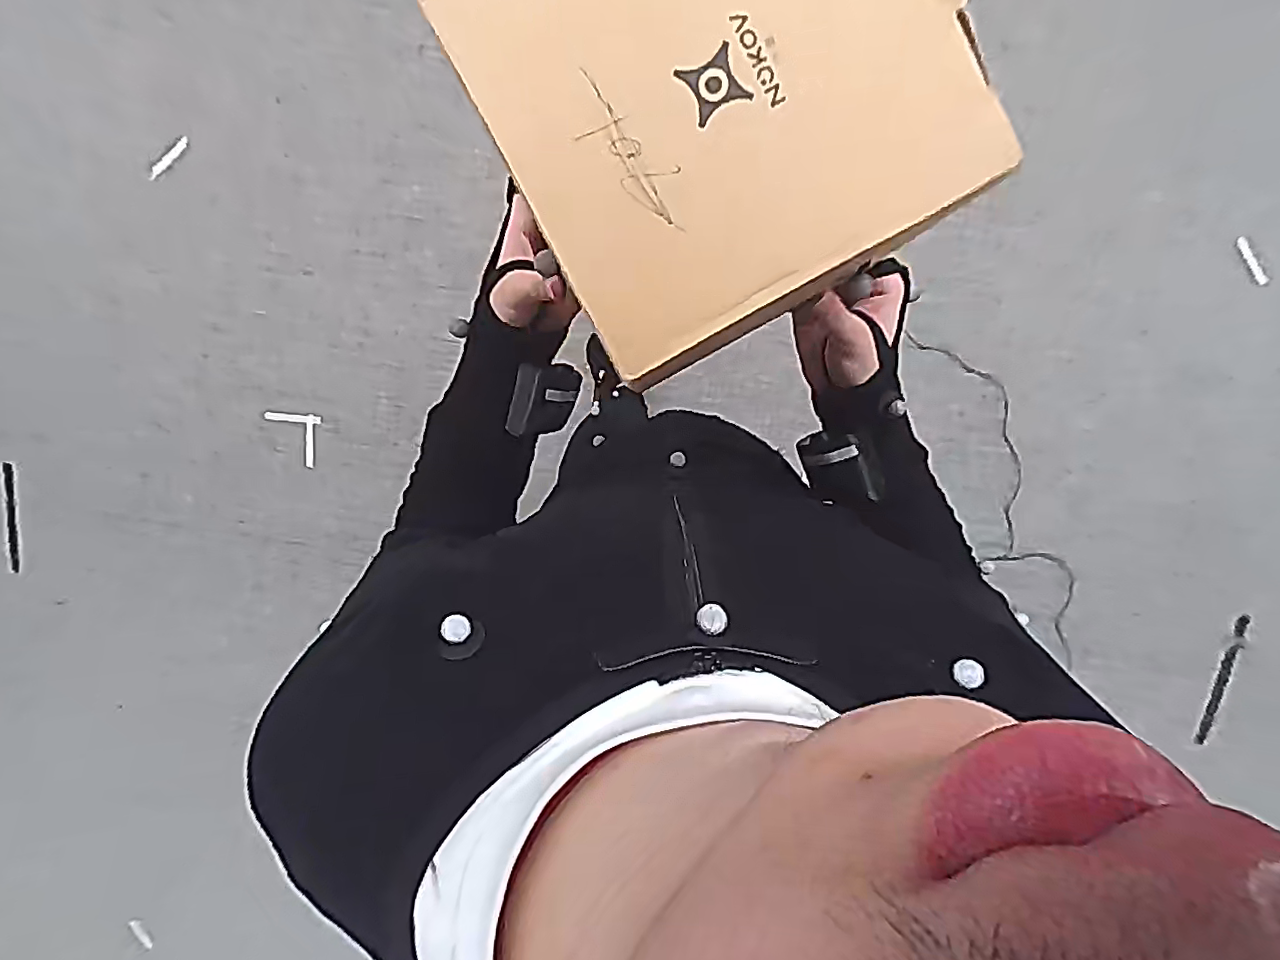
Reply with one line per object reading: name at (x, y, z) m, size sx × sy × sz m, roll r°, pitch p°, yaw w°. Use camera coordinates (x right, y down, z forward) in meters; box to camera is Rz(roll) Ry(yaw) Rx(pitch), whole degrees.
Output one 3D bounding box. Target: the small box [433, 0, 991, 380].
small box at (0.031, -0.169, 0.295) m, size 0.179 × 0.176 × 0.168 m, roll -29°, pitch 96°, yaw 5°
